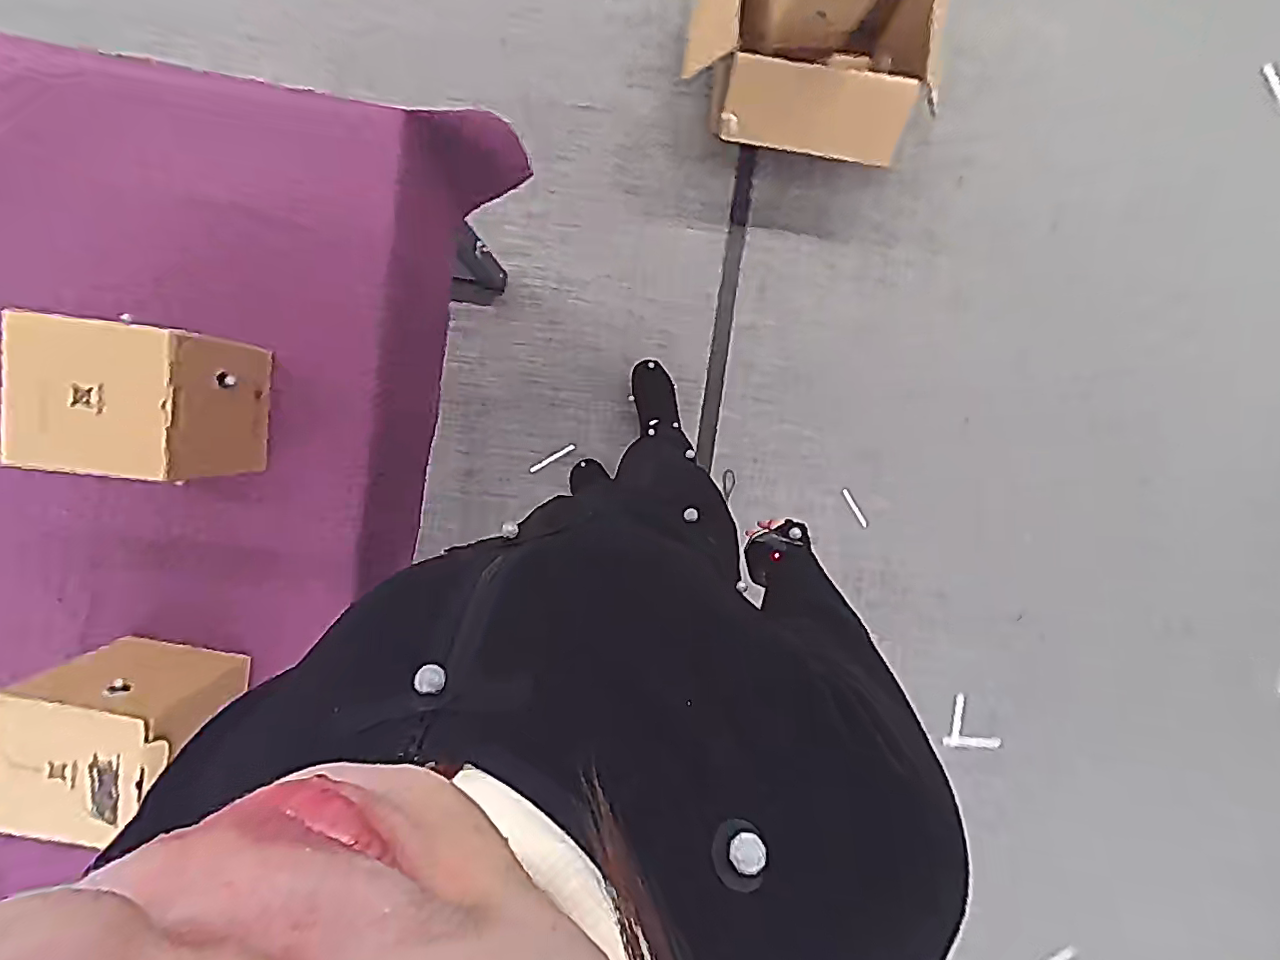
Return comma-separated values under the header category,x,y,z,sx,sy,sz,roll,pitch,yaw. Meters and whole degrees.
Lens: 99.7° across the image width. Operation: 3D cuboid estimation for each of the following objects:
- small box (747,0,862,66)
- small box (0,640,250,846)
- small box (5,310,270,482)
category,x,y,z,sx,sy,sz,roll,pitch,yaw
small box,0.337,-1.021,1.142,0.179,0.176,0.168,-15,100,-3
small box,-0.645,0.322,0.694,0.179,0.176,0.168,10,95,-2
small box,-0.588,-0.096,0.656,0.179,0.176,0.168,7,95,-2
